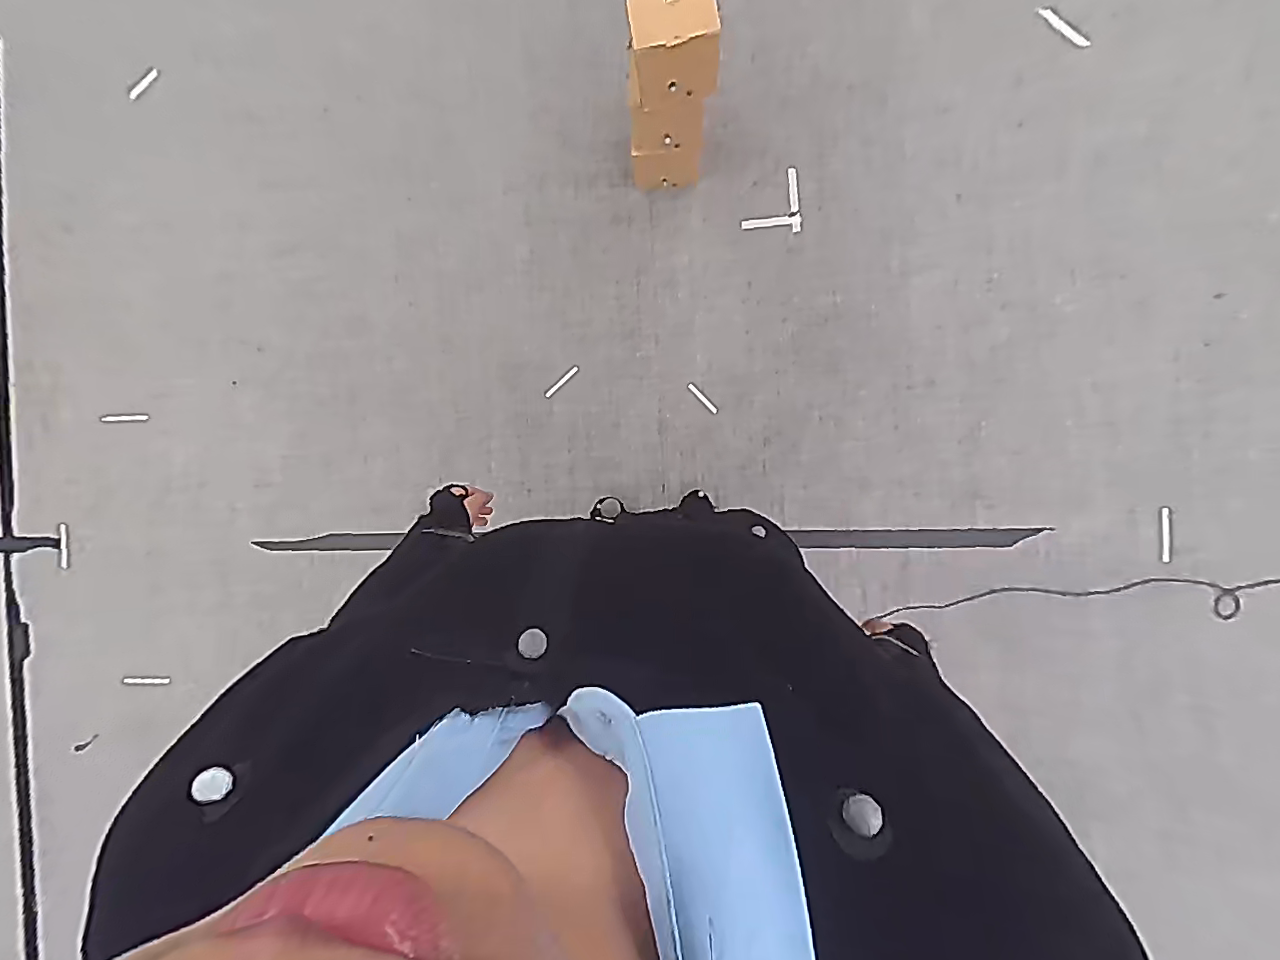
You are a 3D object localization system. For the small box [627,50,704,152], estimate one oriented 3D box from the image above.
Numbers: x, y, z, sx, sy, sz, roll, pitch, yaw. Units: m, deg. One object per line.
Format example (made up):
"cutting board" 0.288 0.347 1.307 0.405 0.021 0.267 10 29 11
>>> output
"small box" 0.063 -0.891 1.243 0.168 0.176 0.179 2 91 6

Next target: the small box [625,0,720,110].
"small box" 0.062 -0.892 1.080 0.168 0.176 0.179 -9 90 5
